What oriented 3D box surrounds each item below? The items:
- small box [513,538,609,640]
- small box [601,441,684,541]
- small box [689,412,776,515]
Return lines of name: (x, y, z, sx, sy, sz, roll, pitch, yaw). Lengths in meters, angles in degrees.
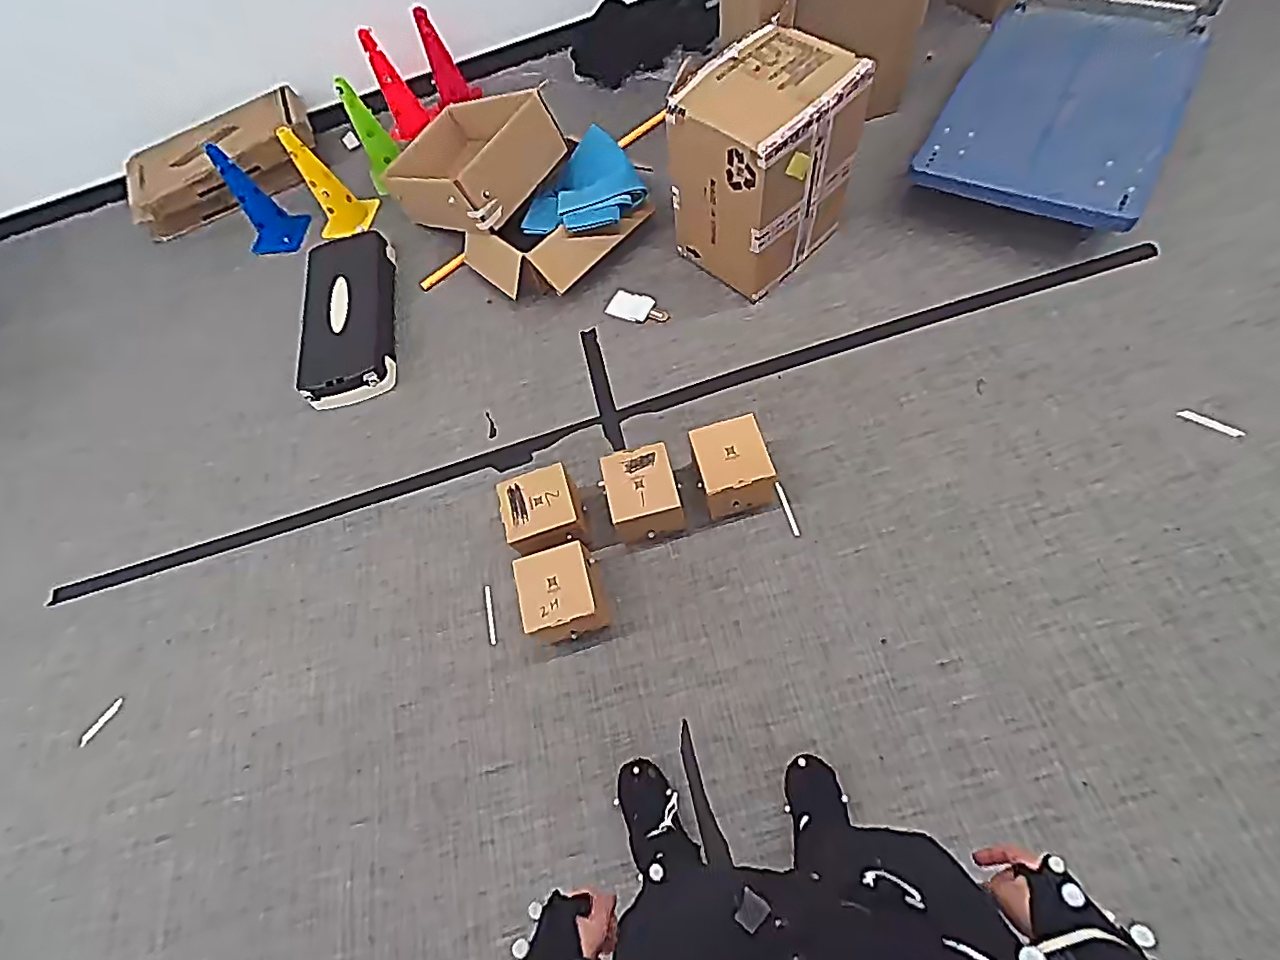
small box: (-0.183, 0.263, 1.276, 0.168, 0.176, 0.179, -18, 65, 2)
small box: (0.008, 0.032, 1.349, 0.168, 0.176, 0.179, -14, 65, 3)
small box: (0.225, -0.036, 1.347, 0.168, 0.176, 0.179, -16, 65, 2)
